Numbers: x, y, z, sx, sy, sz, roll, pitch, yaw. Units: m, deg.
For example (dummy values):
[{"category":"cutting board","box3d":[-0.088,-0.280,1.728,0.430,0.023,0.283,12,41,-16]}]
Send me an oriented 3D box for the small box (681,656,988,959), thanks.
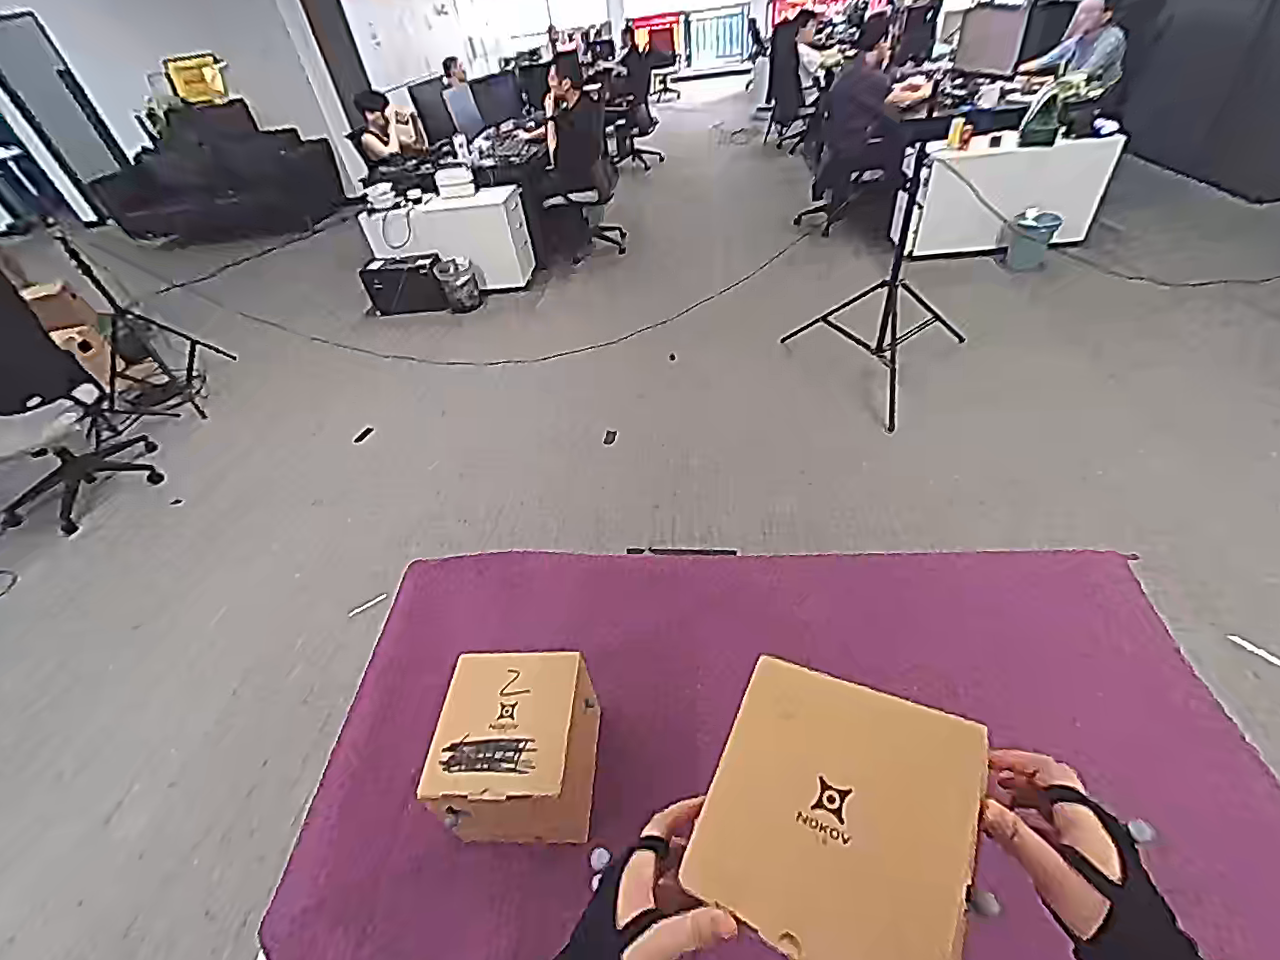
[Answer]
[{"category":"small box","box3d":[0.160,0.272,0.420,0.168,0.176,0.179,7,55,35]}]
